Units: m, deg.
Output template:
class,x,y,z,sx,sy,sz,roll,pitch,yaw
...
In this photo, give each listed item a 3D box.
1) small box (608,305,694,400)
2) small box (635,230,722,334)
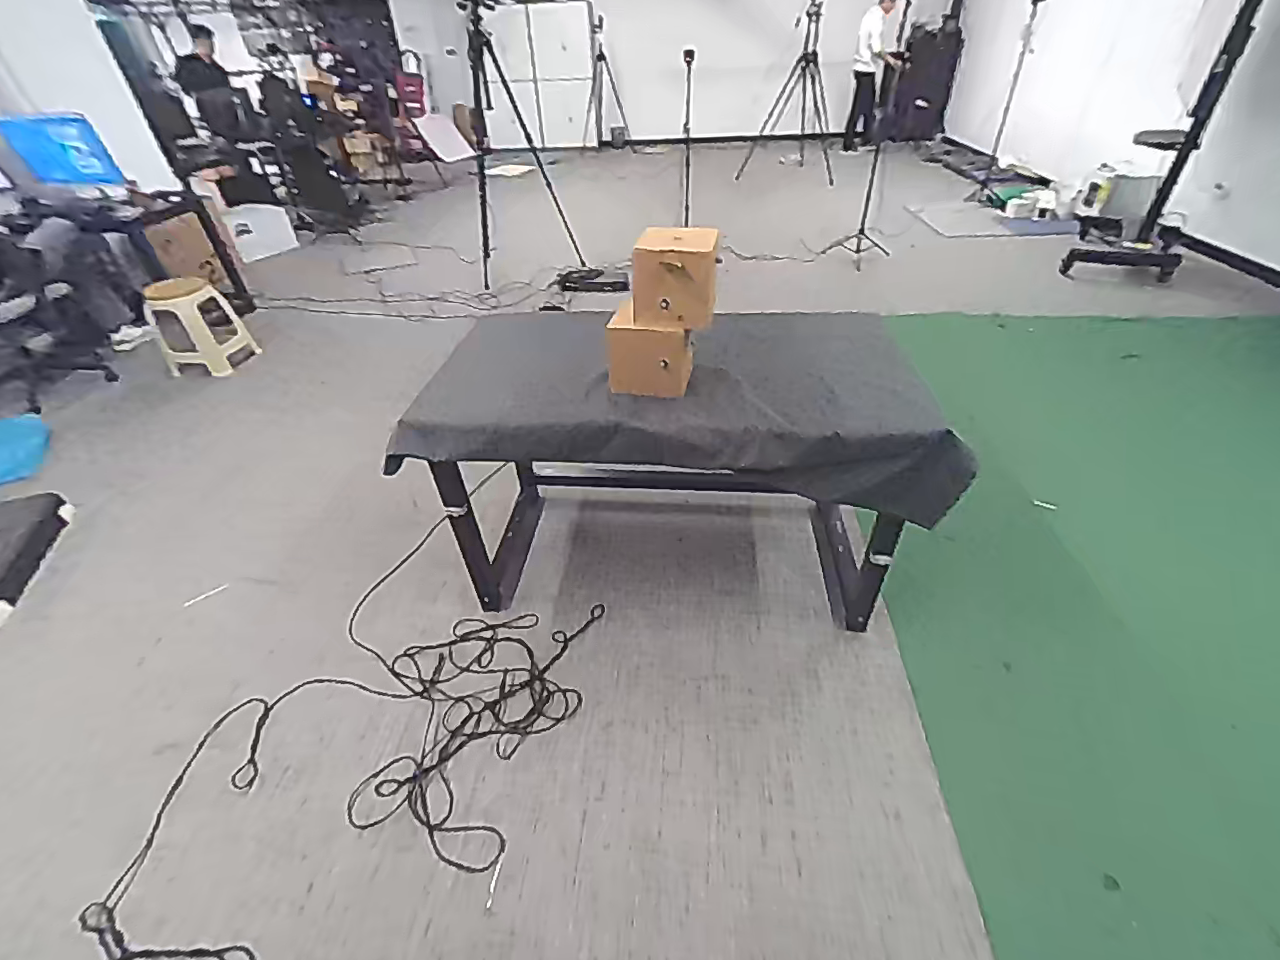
class,x,y,z,sx,sy,sz,roll,pitch,yaw
small box,0.033,-0.303,1.289,0.179,0.176,0.168,6,38,12
small box,0.086,-0.442,1.200,0.168,0.176,0.179,6,39,10
